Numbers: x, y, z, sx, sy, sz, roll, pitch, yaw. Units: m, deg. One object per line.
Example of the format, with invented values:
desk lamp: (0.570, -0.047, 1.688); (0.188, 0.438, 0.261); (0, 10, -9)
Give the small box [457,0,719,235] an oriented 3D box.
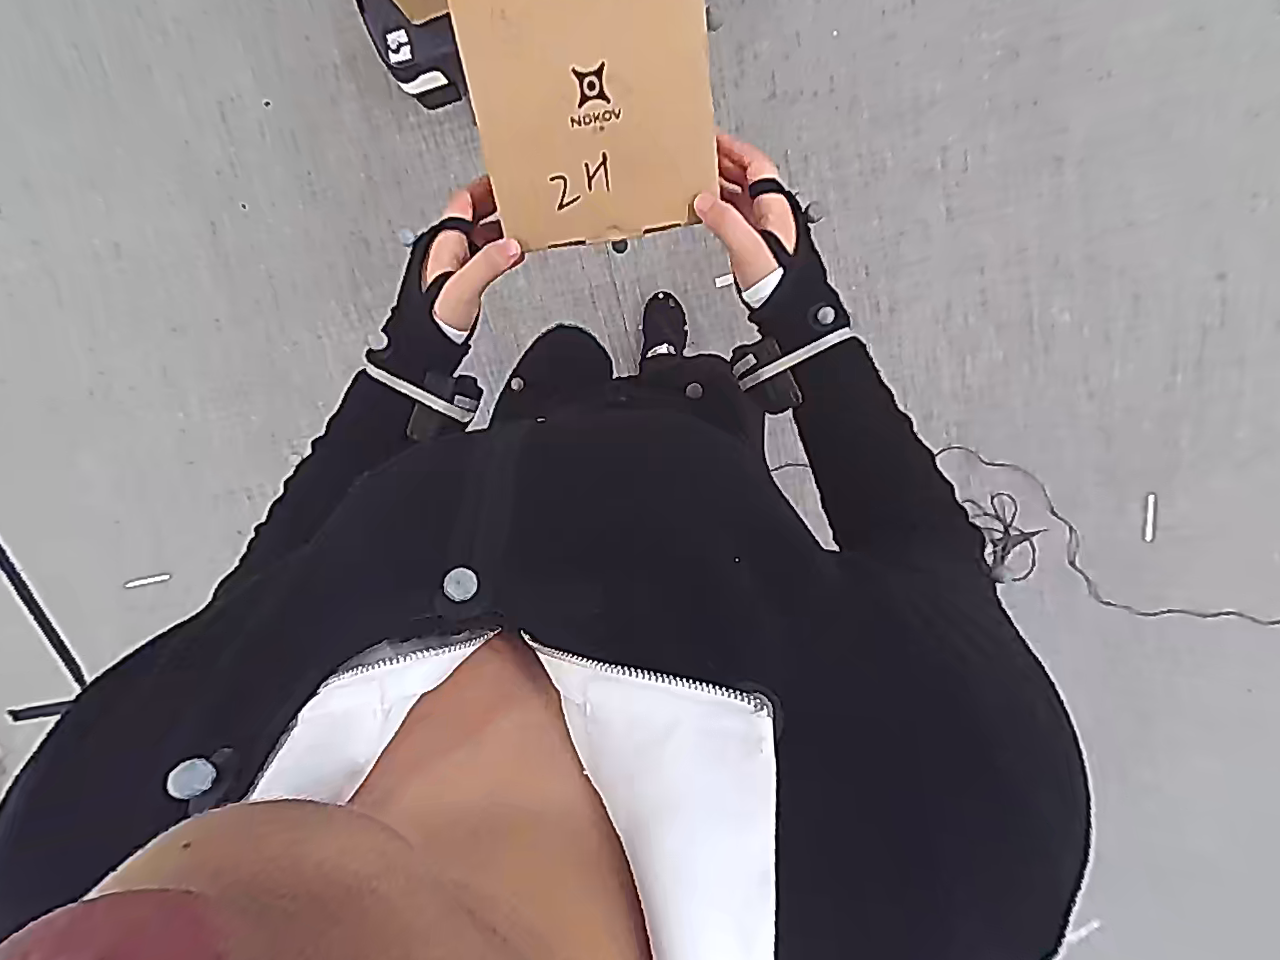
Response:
small box: (-0.033, -0.307, 0.445); (0.168, 0.176, 0.179); (-7, 115, 4)
